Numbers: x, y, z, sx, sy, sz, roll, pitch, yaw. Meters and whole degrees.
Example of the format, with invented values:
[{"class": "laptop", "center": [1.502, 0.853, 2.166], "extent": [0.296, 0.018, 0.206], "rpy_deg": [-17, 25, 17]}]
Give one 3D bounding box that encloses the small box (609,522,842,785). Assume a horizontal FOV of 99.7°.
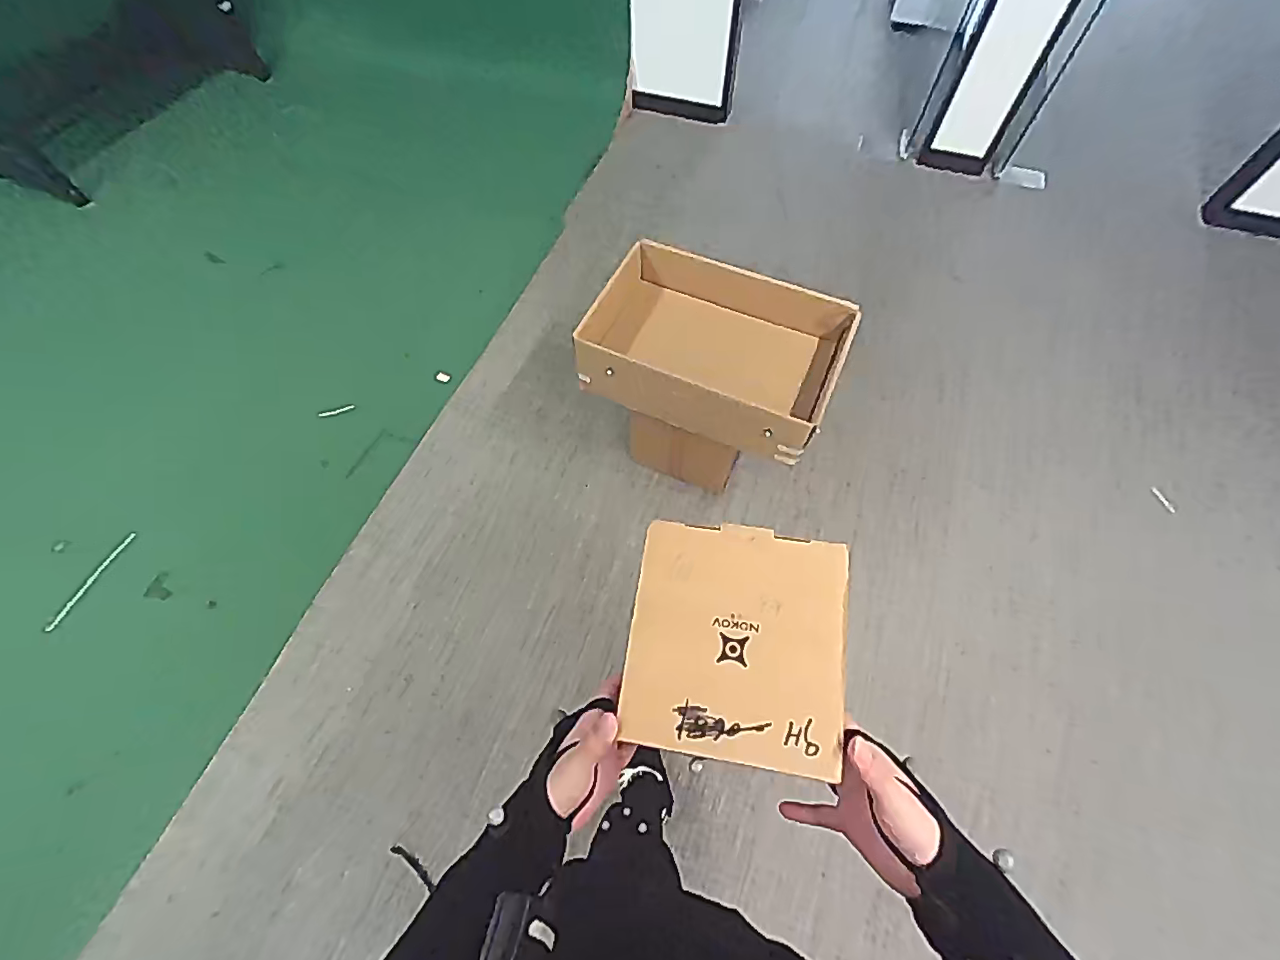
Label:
[{"class": "small box", "center": [0.078, 0.156, 0.494], "extent": [0.168, 0.176, 0.179], "rpy_deg": [7, 68, 10]}]
